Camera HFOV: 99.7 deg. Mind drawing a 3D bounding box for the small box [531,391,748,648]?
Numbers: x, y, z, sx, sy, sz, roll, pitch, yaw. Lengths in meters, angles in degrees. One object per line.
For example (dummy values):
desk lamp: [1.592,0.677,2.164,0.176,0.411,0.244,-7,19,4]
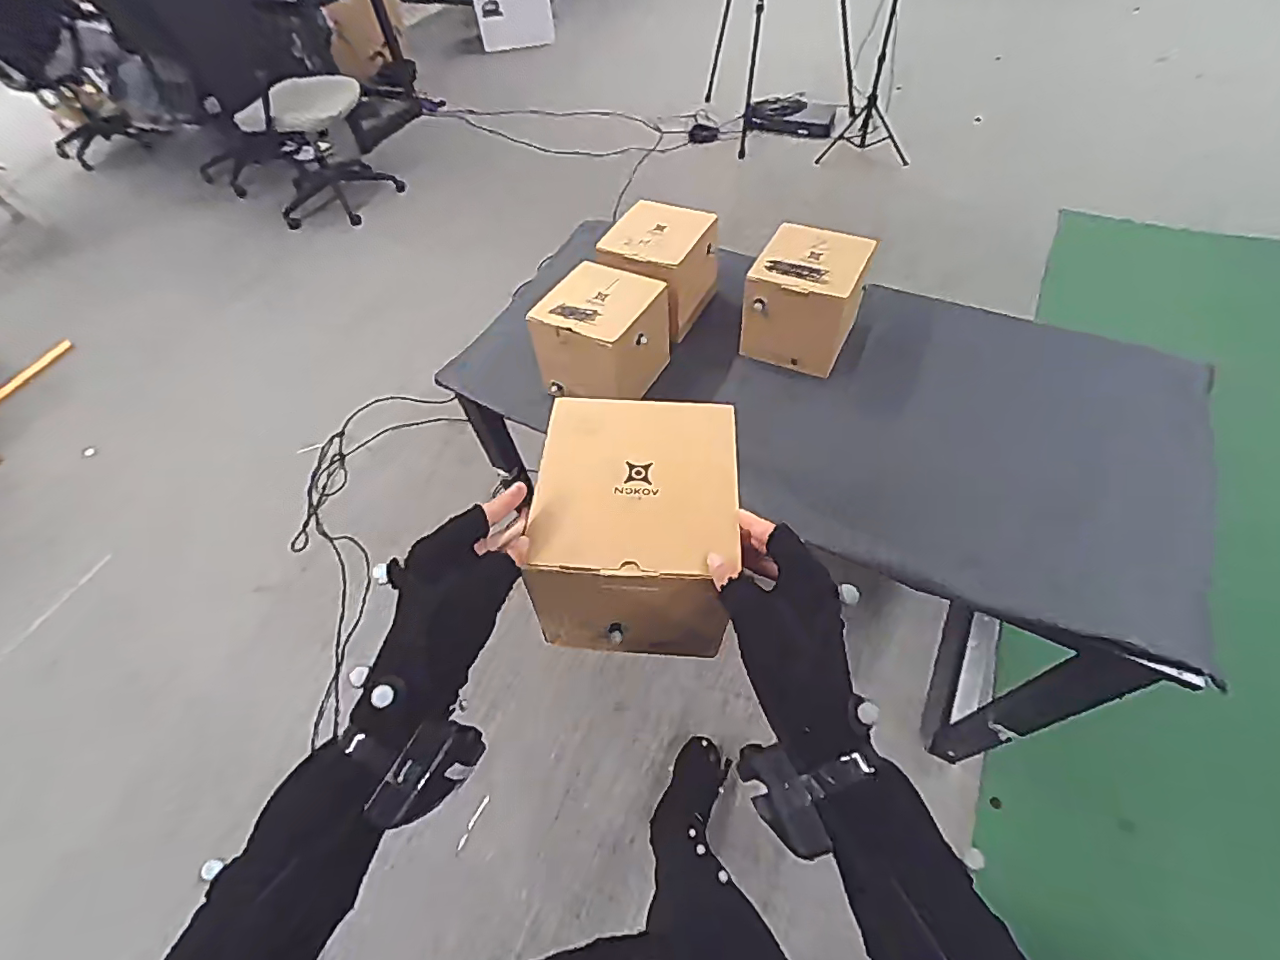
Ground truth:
small box: [0.004,0.040,0.512,0.168,0.176,0.179,3,55,2]
